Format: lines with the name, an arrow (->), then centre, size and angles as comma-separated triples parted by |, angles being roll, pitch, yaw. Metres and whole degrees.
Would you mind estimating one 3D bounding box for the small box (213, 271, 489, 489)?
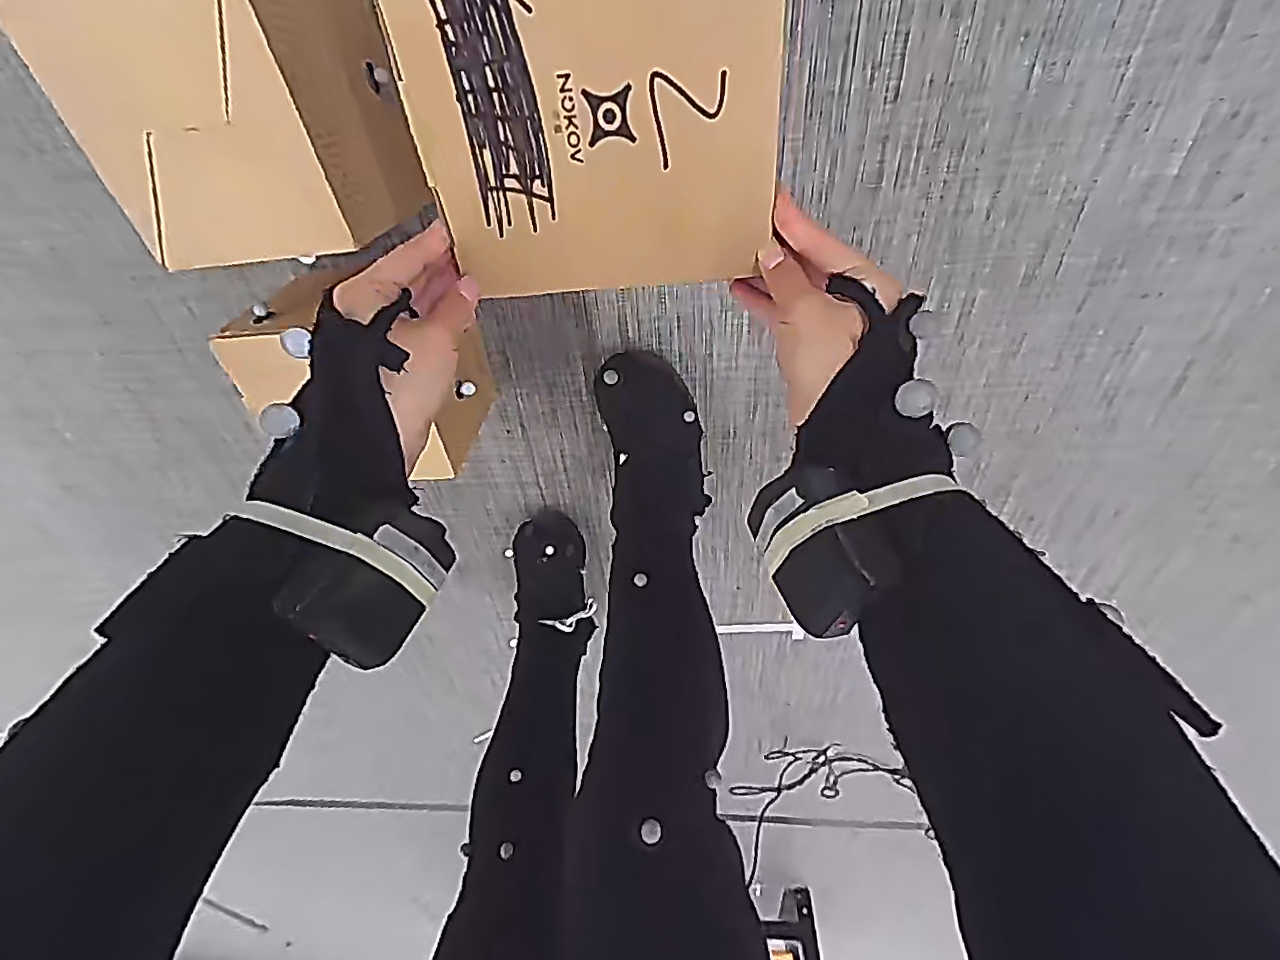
small box -> -0.272, -0.108, 0.568 | 0.179, 0.176, 0.168 | -2, 129, 6
